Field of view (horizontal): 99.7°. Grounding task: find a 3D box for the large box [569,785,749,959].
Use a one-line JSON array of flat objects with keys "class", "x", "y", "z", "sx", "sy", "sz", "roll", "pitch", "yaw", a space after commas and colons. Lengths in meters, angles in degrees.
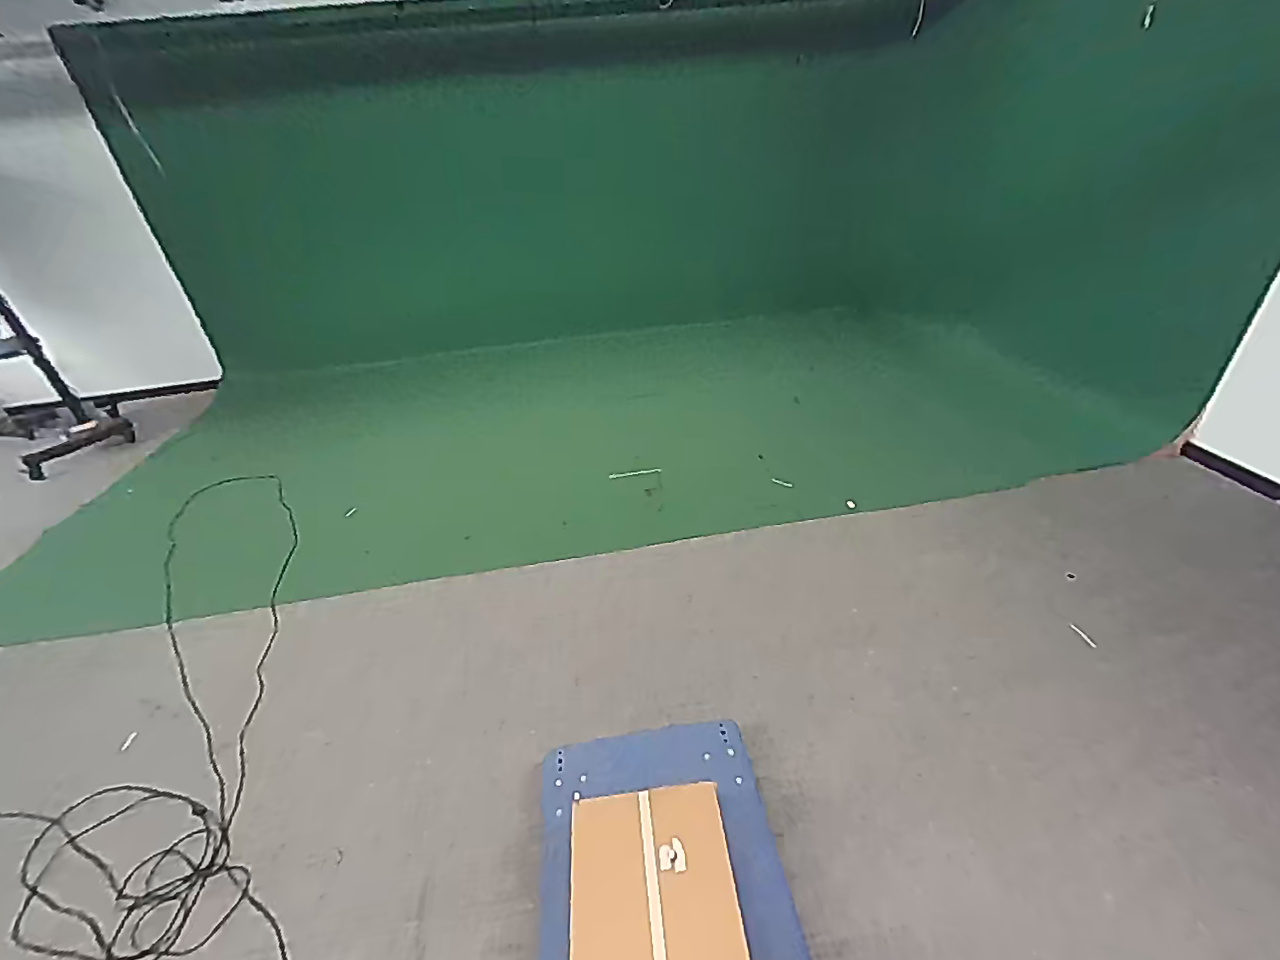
[{"class": "large box", "x": 0.035, "y": 0.916, "z": 1.089, "sx": 0.320, "sy": 0.320, "sz": 0.408, "roll": -6, "pitch": 33, "yaw": -2}]
